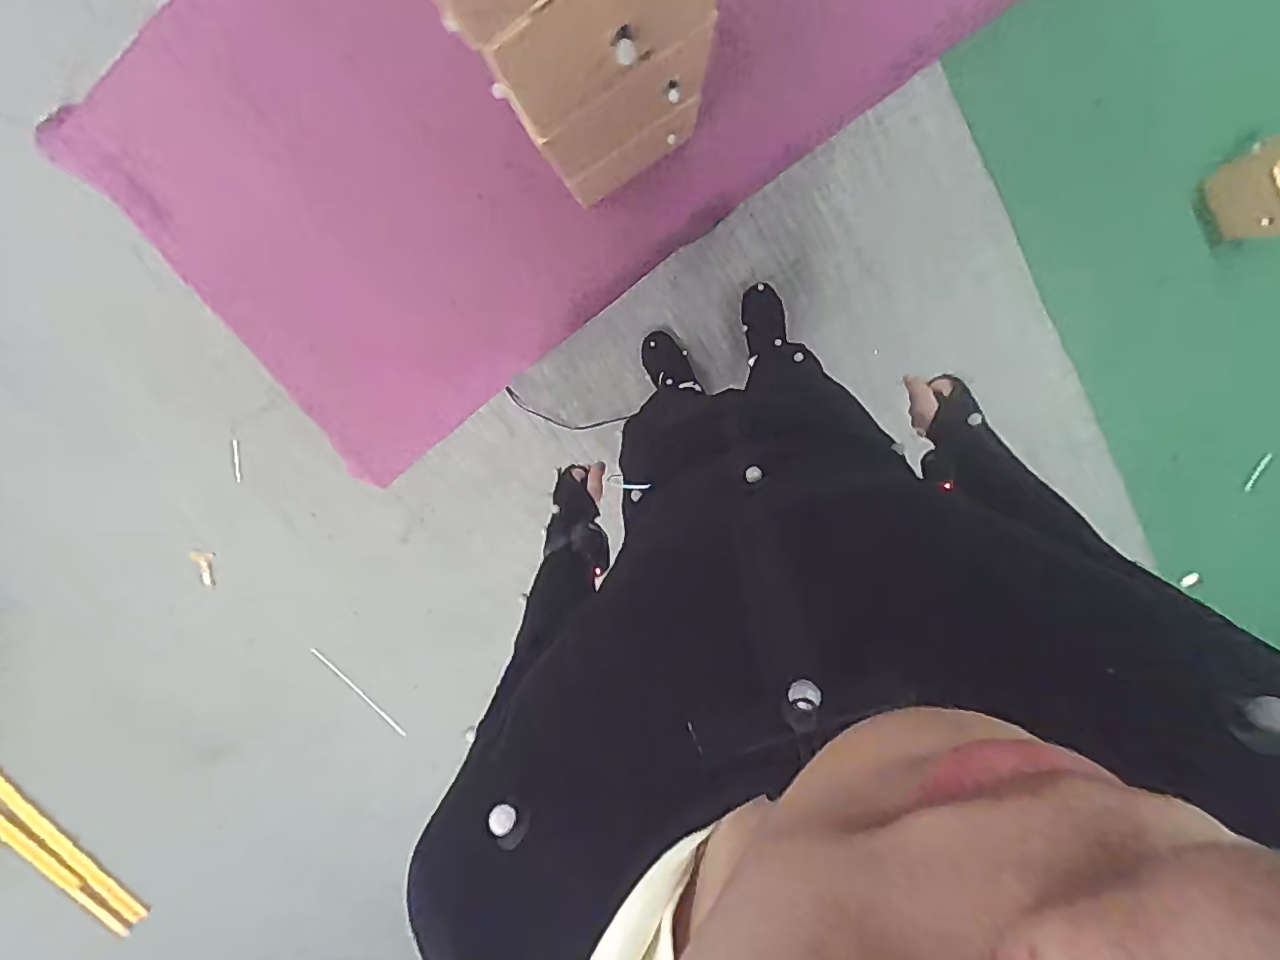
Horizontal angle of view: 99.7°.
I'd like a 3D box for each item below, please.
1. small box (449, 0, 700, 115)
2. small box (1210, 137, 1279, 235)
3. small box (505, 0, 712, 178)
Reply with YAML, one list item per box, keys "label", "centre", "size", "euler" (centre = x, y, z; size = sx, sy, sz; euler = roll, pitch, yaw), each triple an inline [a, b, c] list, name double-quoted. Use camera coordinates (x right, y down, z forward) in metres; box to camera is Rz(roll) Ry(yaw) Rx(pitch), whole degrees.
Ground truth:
- label: "small box"
  centre: [-0.063, -0.371, 0.342]
  size: [0.168, 0.176, 0.179]
  euler: [-30, 105, 10]
- label: "small box"
  centre: [1.537, -0.706, 1.283]
  size: [0.168, 0.176, 0.179]
  euler: [-37, 104, 13]
- label: "small box"
  centre: [-0.054, -0.416, 0.498]
  size: [0.179, 0.176, 0.168]
  euler: [-29, 105, 11]
